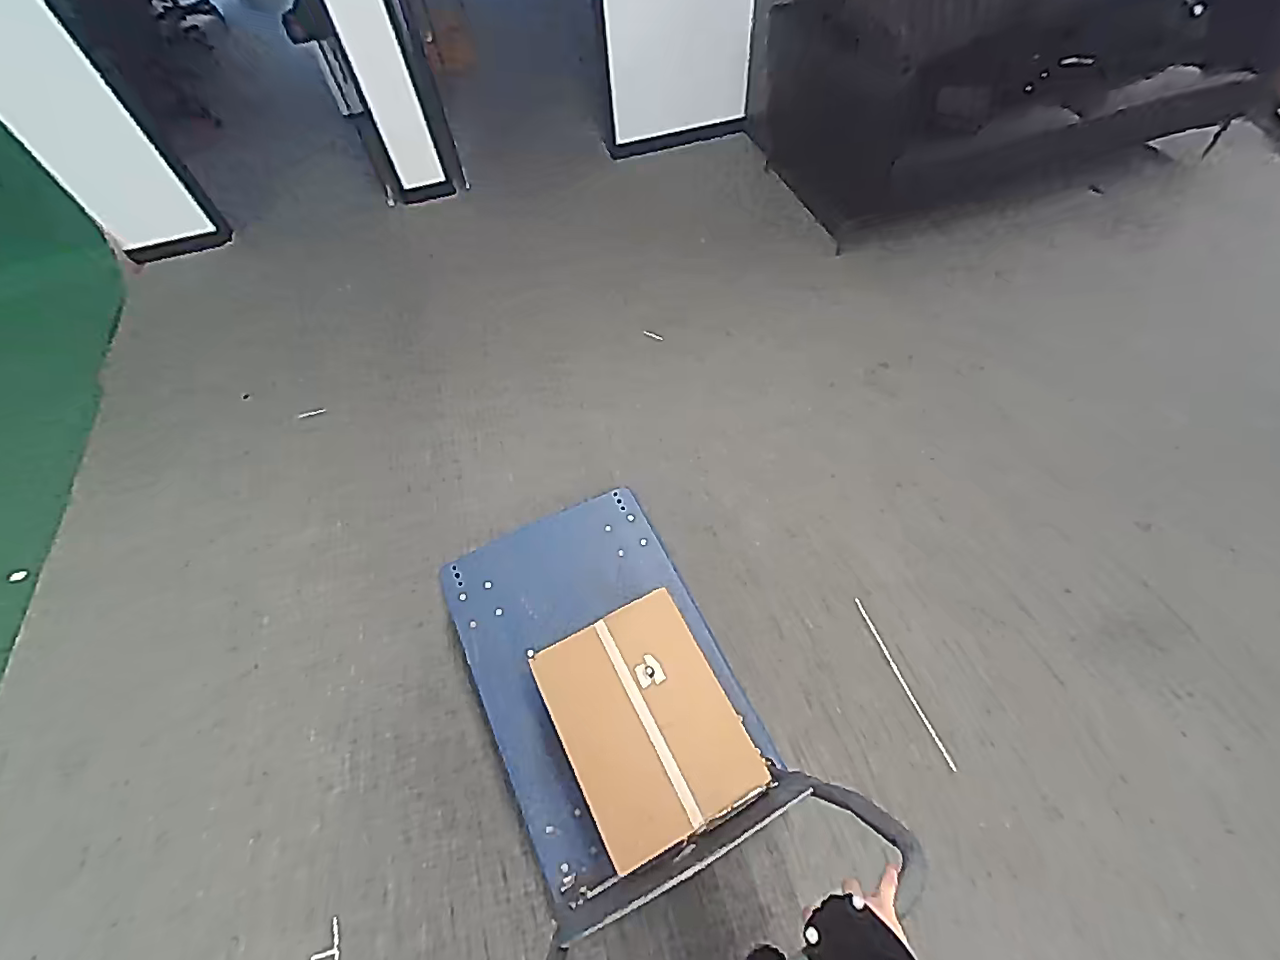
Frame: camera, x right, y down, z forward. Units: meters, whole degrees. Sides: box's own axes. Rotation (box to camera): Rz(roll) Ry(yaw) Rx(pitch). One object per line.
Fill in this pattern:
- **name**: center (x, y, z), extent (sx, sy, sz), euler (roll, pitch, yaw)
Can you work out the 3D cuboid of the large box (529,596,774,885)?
- **large box**: center (0.013, 0.523, 1.133), extent (0.320, 0.320, 0.408), euler (-25, 65, -14)
